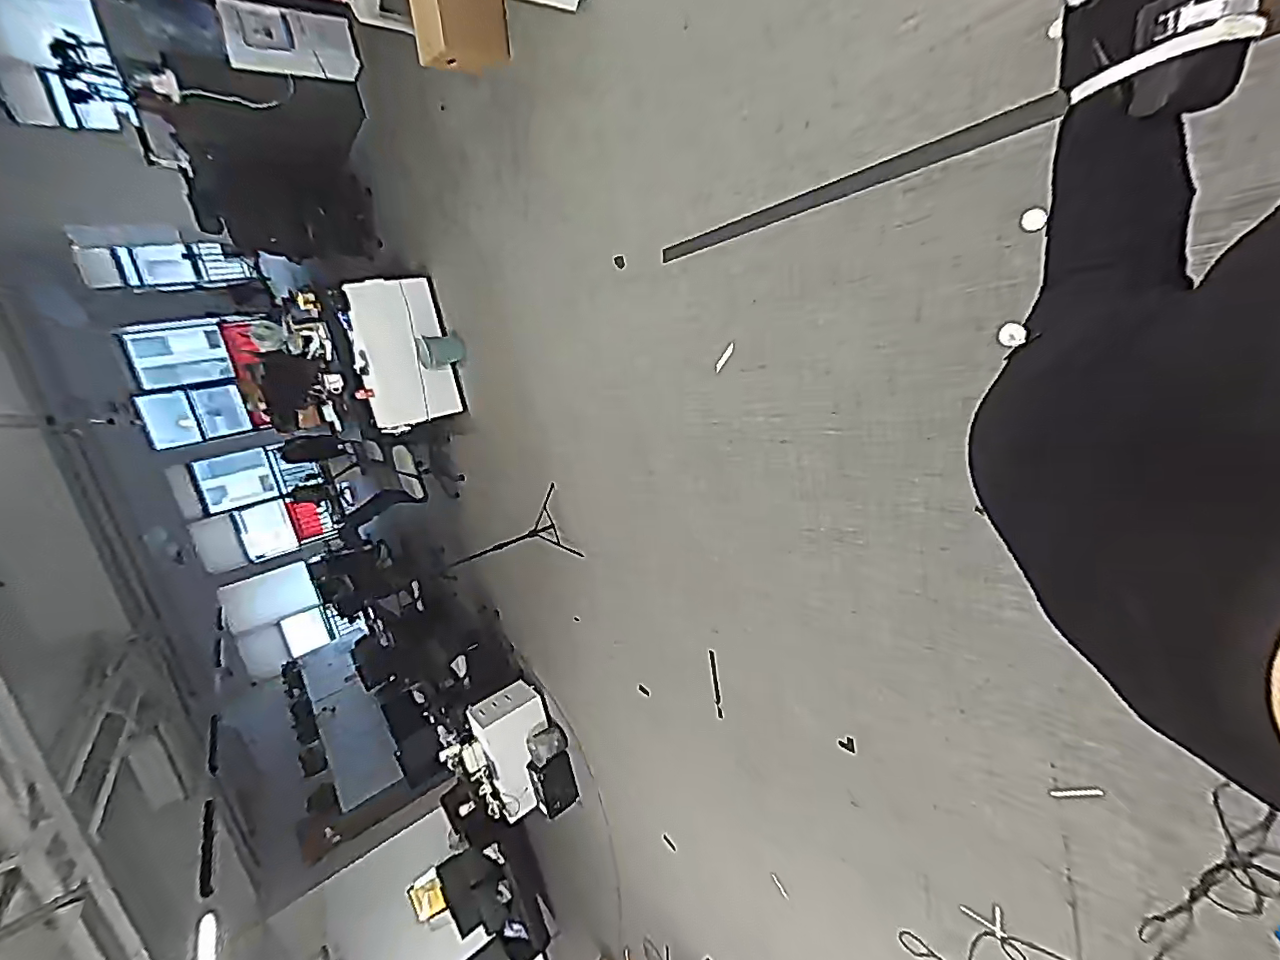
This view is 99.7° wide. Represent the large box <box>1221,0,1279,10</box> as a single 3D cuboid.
[{"bbox_3d":[0.530,-0.496,0.224,0.408,0.320,0.320,9,122,52],"label":"large box"}]
